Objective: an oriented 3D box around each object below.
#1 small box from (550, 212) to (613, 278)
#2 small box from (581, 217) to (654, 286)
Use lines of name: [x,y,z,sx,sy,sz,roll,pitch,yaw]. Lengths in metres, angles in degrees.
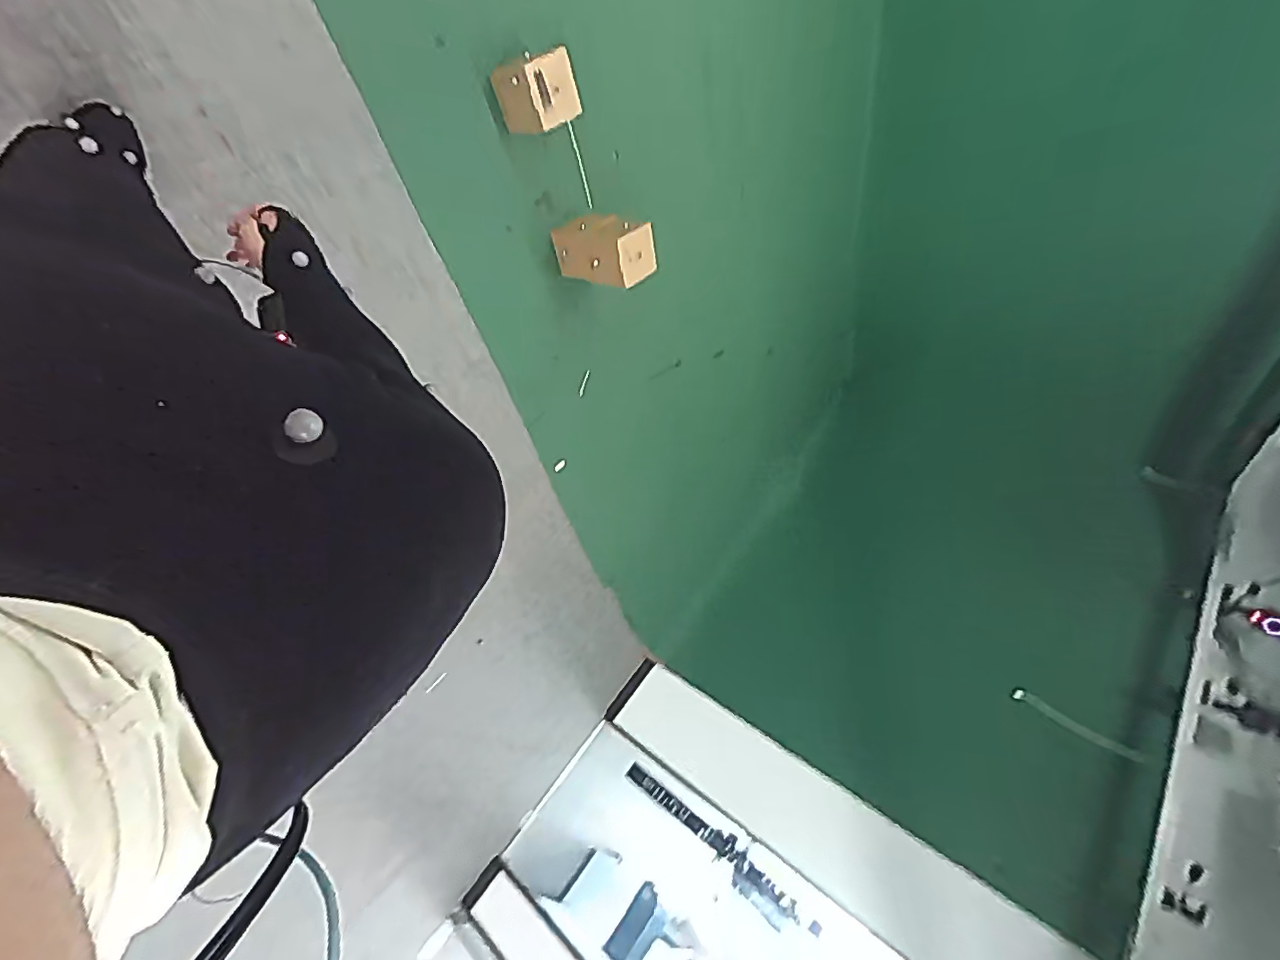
small box: [-0.198,-0.861,1.971,0.179,0.176,0.168,-44,140,-28]
small box: [-0.077,-0.798,1.879,0.179,0.176,0.168,-42,140,-29]
